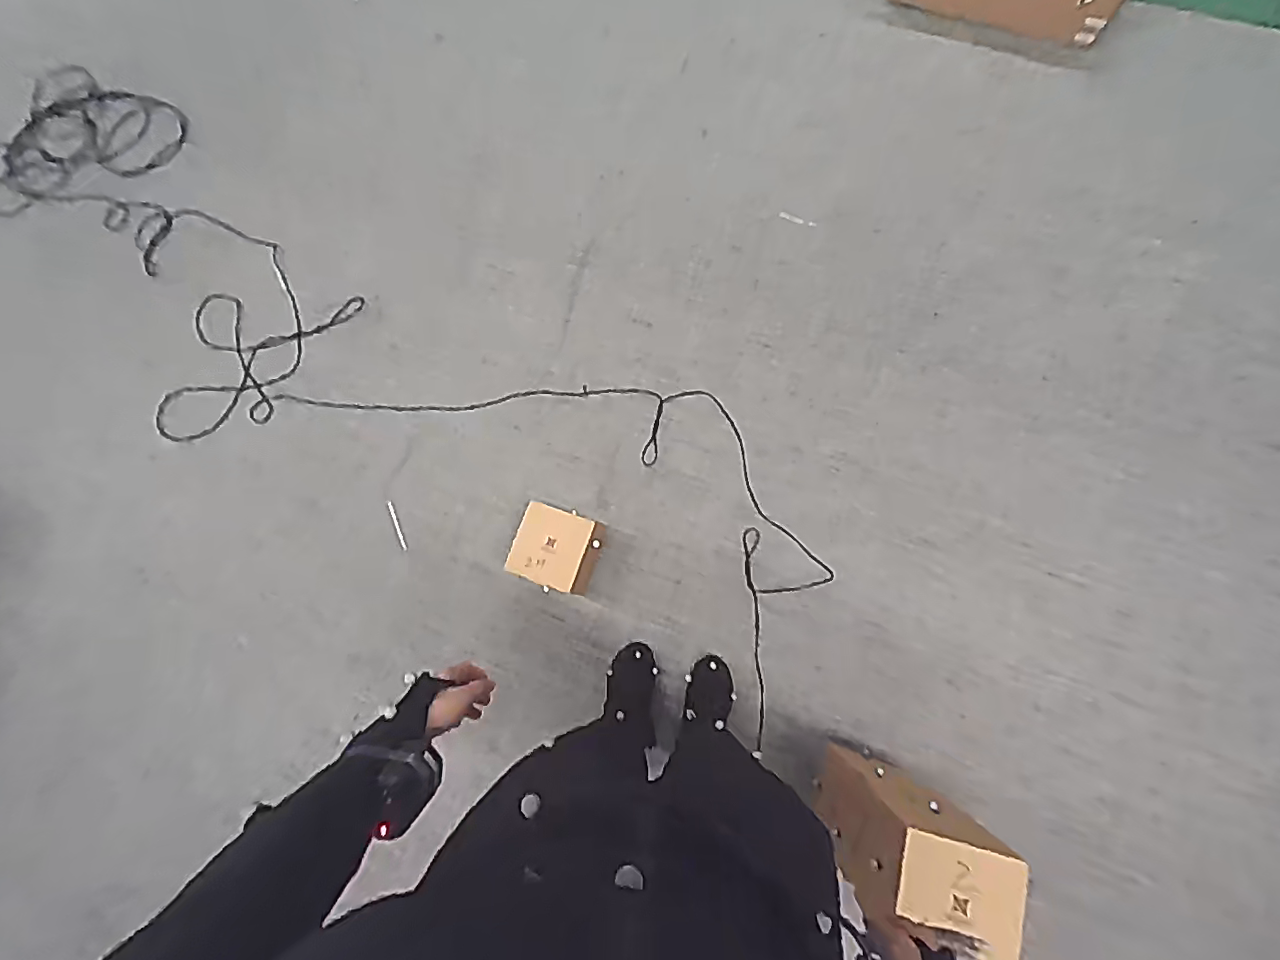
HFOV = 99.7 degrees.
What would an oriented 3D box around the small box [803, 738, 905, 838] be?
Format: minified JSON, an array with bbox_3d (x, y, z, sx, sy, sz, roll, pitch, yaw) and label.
[{"bbox_3d":[0.465,0.675,1.153,0.179,0.176,0.168,19,81,9],"label":"small box"}]

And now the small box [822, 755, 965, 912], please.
[{"bbox_3d":[0.454,0.632,0.996,0.179,0.176,0.168,16,82,7],"label":"small box"}]

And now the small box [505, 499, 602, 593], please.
[{"bbox_3d":[-0.199,0.164,1.312,0.168,0.176,0.179,18,80,9],"label":"small box"}]
